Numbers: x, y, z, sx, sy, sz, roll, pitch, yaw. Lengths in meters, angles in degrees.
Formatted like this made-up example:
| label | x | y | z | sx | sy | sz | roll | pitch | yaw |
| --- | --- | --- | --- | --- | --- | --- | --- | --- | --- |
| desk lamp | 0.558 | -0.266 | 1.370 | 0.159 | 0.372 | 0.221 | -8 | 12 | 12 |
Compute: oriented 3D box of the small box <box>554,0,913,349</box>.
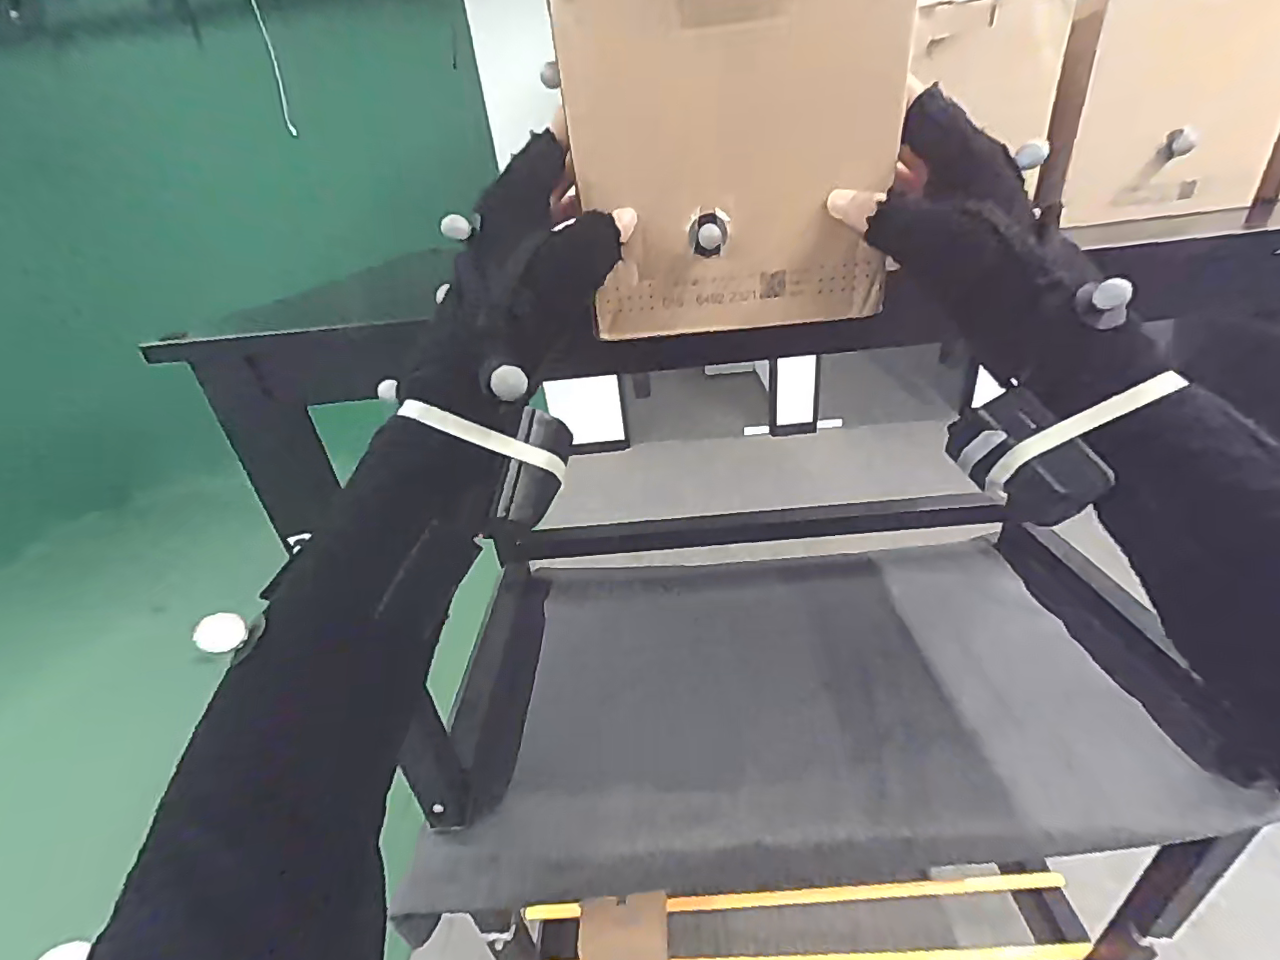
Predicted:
| label | x | y | z | sx | sy | sz | roll | pitch | yaw |
| --- | --- | --- | --- | --- | --- | --- | --- | --- | --- |
| small box | 0.051 | -0.196 | 0.354 | 0.168 | 0.176 | 0.179 | -4 | 33 | 5 |
